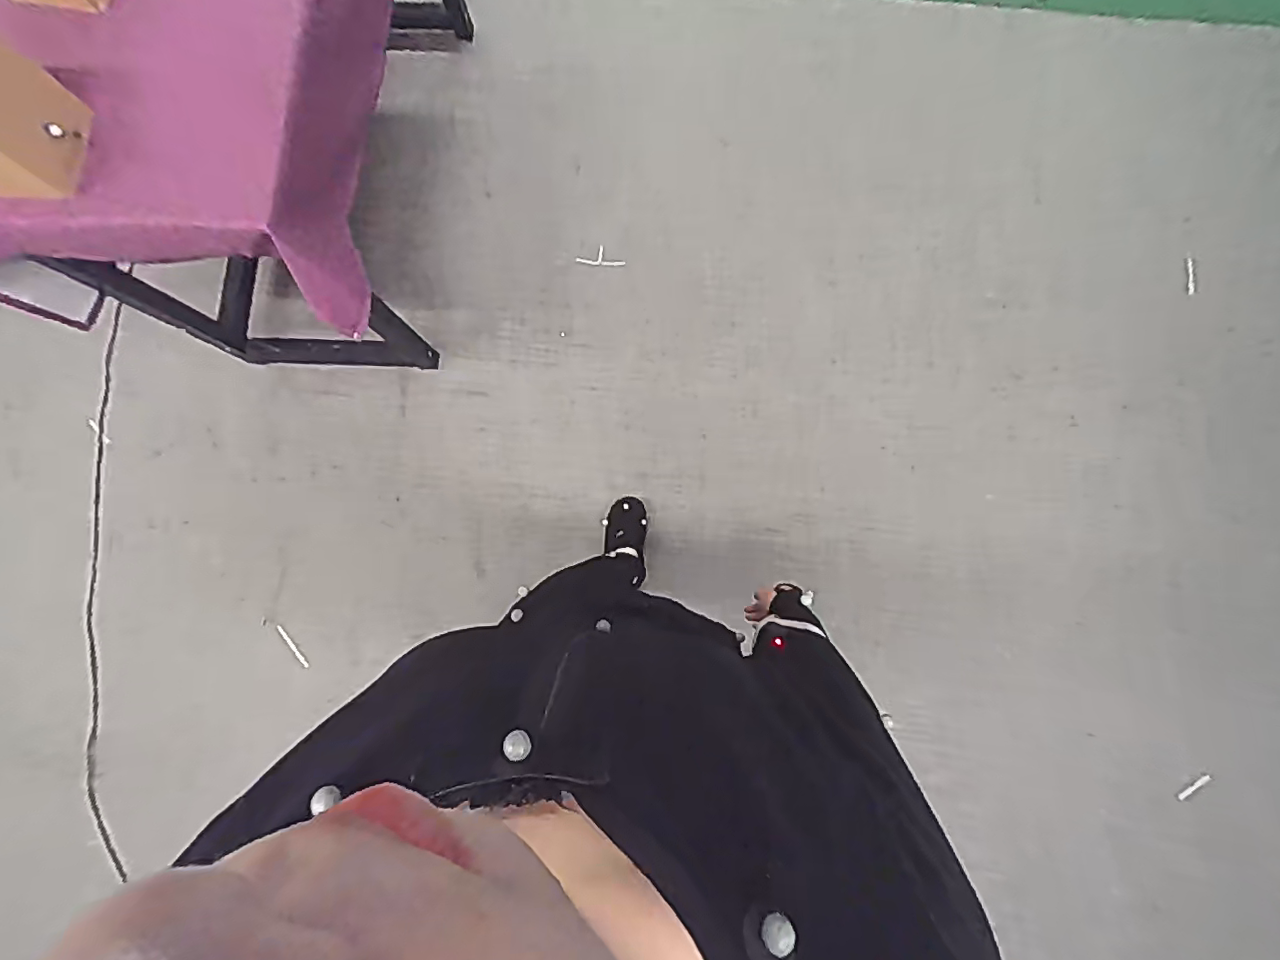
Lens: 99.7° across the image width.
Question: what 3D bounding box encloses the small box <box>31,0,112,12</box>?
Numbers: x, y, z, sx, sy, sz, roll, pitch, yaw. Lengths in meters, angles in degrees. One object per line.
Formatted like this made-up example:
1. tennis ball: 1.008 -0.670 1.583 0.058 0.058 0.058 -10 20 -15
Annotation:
1. small box: -1.009 -0.924 0.888 0.179 0.176 0.168 11 82 2

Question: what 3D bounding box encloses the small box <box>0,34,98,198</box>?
1. small box: -1.013 -0.561 0.830 0.179 0.176 0.168 3 82 2
